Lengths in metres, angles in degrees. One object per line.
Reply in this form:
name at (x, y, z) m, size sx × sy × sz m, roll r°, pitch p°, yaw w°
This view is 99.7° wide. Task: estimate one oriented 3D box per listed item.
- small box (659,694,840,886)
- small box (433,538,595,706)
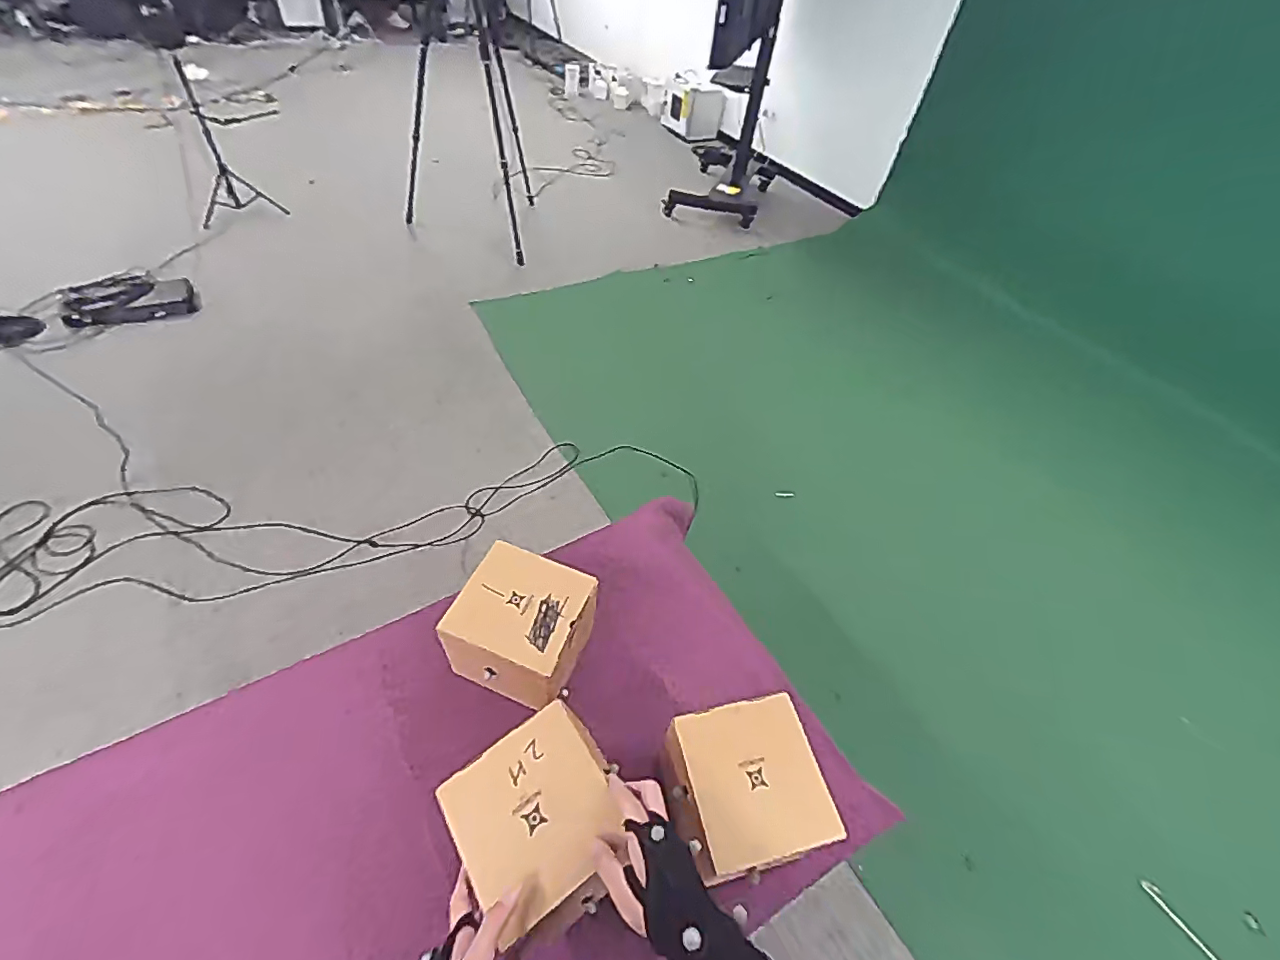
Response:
small box at (0.129, 0.415, 0.718) m, size 0.168 × 0.176 × 0.179 m, roll -7°, pitch 49°, yaw -13°
small box at (-0.184, 0.225, 0.835) m, size 0.179 × 0.176 × 0.168 m, roll 20°, pitch 50°, yaw 9°
